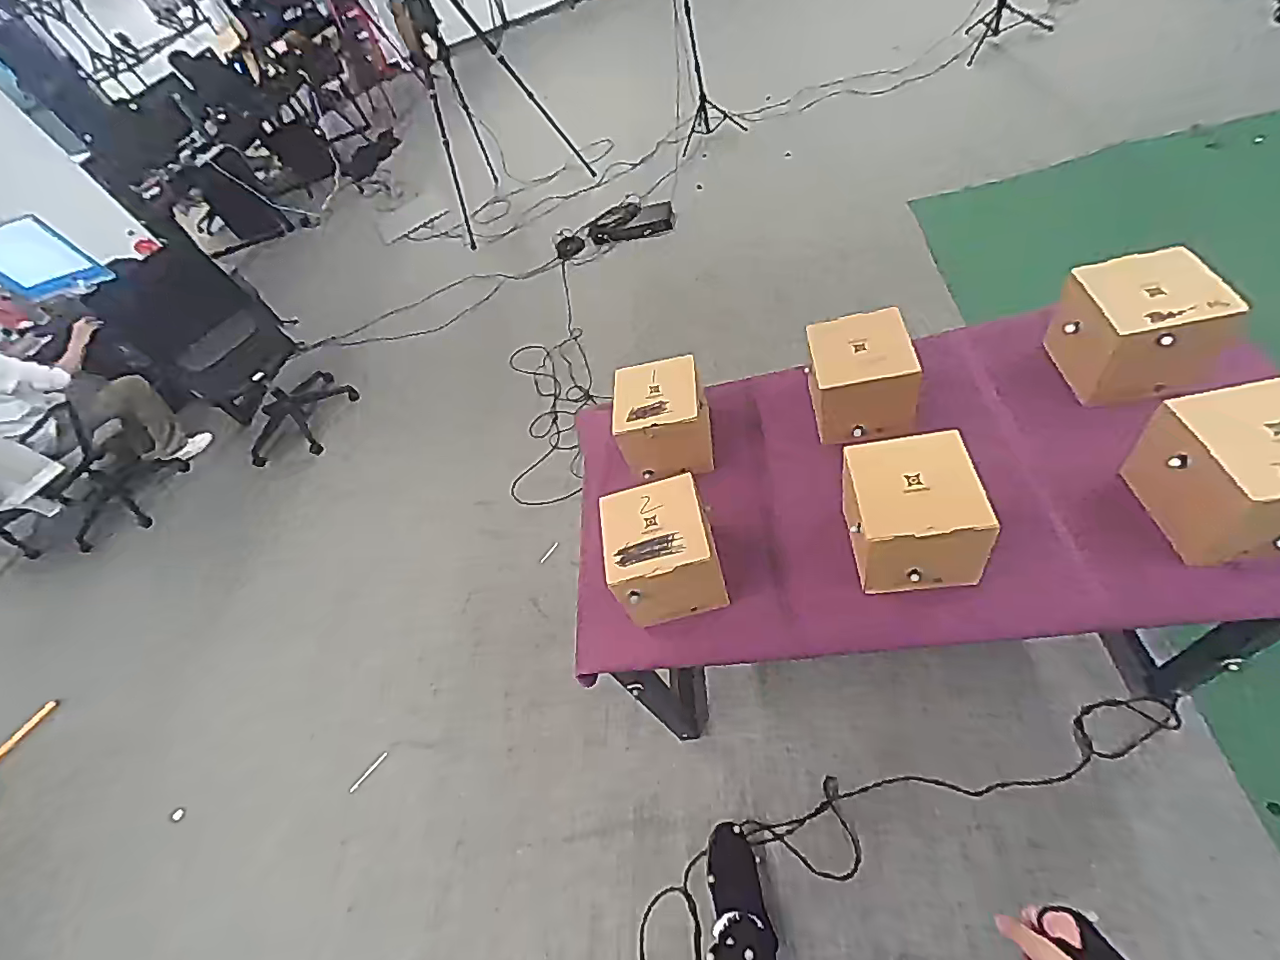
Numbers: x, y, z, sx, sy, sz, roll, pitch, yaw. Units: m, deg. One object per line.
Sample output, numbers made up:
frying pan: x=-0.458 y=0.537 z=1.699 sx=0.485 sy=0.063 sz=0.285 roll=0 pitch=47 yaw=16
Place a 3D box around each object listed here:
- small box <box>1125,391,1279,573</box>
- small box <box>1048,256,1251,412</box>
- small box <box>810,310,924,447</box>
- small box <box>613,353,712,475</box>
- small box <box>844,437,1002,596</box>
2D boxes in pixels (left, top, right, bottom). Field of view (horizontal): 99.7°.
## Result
small box: x=0.822 y=0.005 z=0.735 sx=0.168 sy=0.176 sz=0.179 roll=-11 pitch=52 yaw=13
small box: x=0.835 y=-0.242 z=0.915 sx=0.168 sy=0.176 sz=0.179 roll=-9 pitch=53 yaw=14
small box: x=0.415 y=-0.187 z=1.019 sx=0.168 sy=0.176 sz=0.179 roll=-7 pitch=54 yaw=14
small box: x=0.050 y=-0.123 z=1.091 sx=0.168 sy=0.176 sz=0.179 roll=-8 pitch=54 yaw=13
small box: x=0.418 y=0.061 z=0.836 sx=0.168 sy=0.176 sz=0.179 roll=-8 pitch=53 yaw=13
